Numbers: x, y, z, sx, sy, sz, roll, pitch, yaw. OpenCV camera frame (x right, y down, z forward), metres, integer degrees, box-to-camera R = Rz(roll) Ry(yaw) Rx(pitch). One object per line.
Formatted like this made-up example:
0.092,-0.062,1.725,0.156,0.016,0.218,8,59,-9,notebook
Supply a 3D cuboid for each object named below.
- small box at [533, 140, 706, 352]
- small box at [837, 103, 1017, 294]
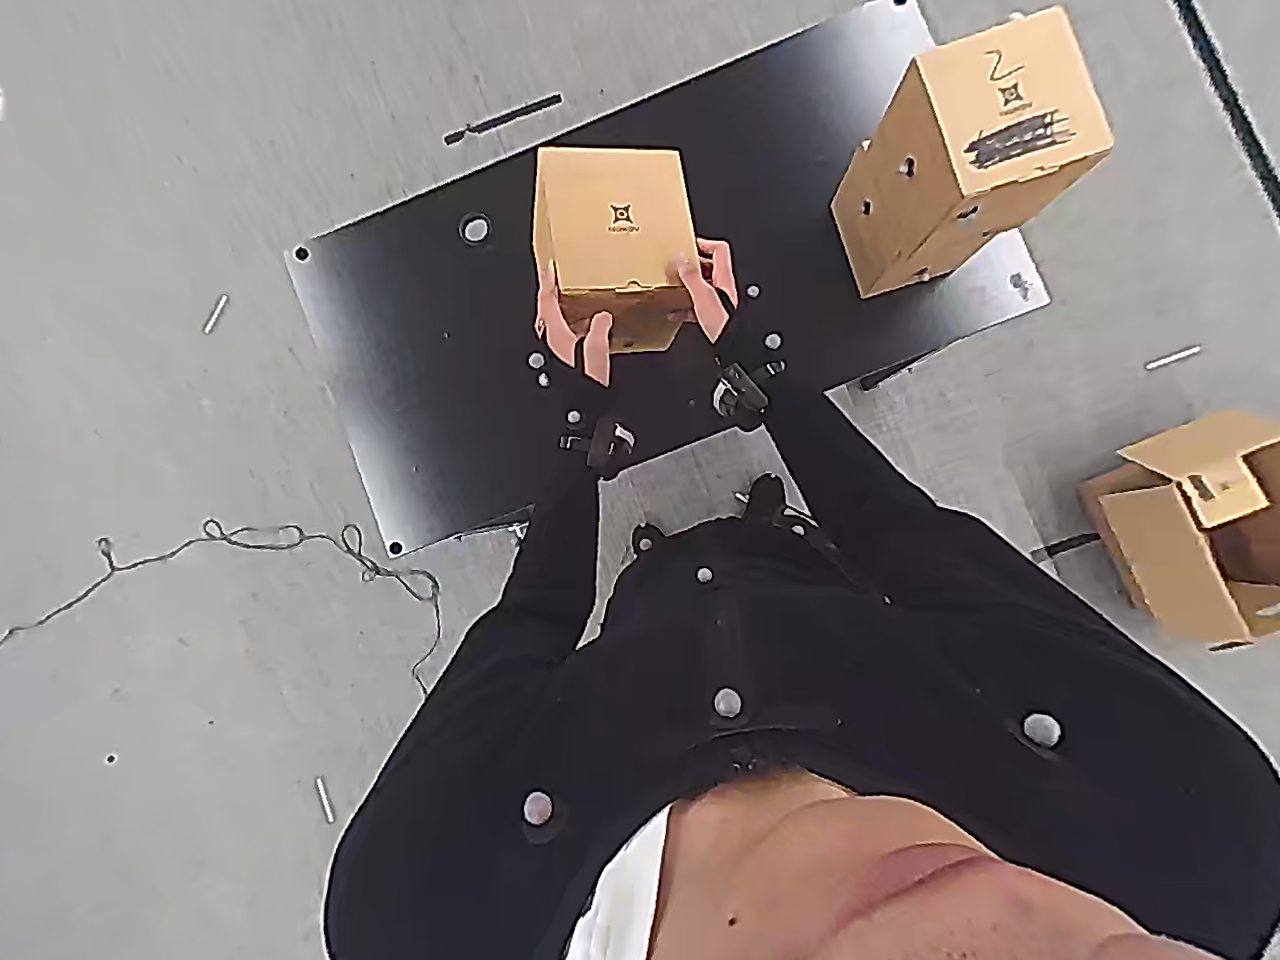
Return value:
-0.037,-0.275,0.666,0.168,0.176,0.179,-7,81,-15,small box
0.420,-0.415,0.825,0.168,0.176,0.179,-16,87,5,small box
